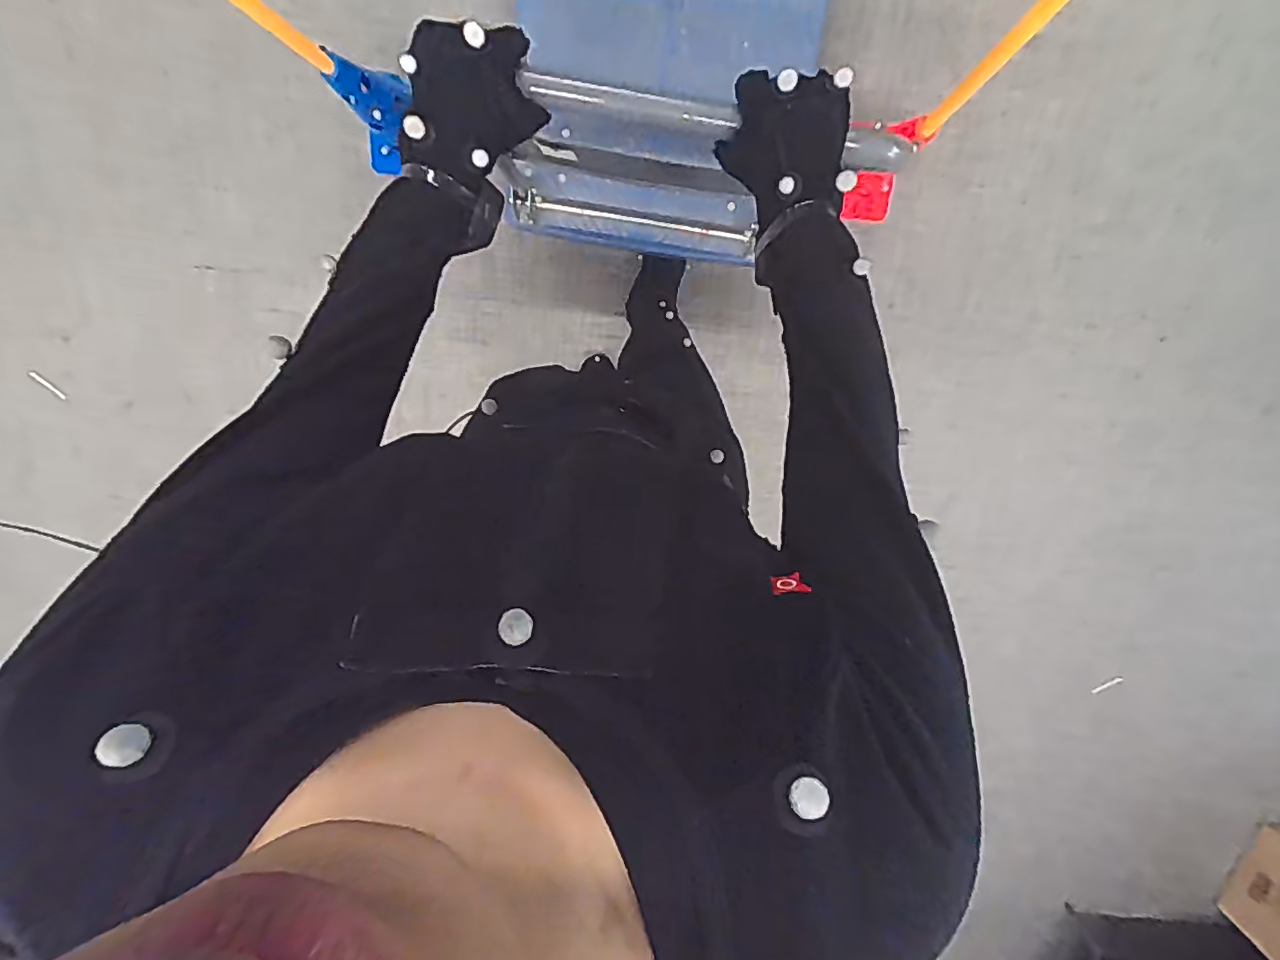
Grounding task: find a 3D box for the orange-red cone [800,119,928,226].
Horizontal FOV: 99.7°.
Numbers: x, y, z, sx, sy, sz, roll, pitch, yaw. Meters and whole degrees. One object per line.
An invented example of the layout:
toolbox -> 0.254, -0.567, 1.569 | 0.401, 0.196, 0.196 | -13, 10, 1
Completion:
orange-red cone -> 0.485, -0.659, 1.107 | 0.199, 0.360, 0.198 | 6, 108, -1
